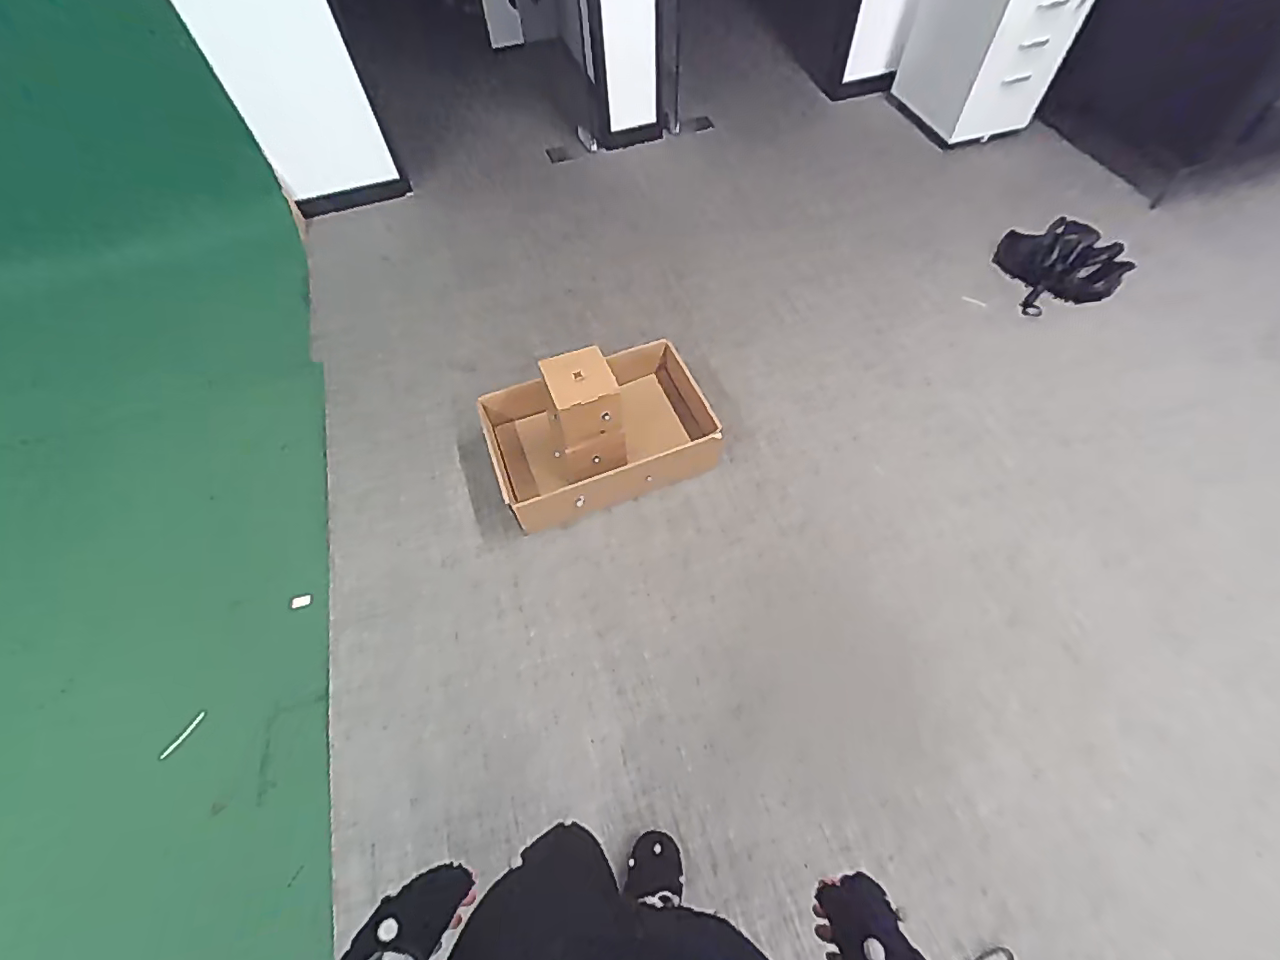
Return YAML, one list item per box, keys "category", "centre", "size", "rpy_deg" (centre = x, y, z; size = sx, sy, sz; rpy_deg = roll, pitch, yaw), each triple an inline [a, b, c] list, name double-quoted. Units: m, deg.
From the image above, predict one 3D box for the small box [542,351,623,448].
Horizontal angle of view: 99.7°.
- category: "small box"
  centre: [-0.147, -0.205, 1.430]
  size: [0.168, 0.176, 0.179]
  rpy_deg: [-18, 57, -12]

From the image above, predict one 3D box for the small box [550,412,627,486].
- category: "small box"
  centre: [-0.143, -0.111, 1.560]
  size: [0.179, 0.176, 0.168]
  rpy_deg: [-21, 59, -10]
